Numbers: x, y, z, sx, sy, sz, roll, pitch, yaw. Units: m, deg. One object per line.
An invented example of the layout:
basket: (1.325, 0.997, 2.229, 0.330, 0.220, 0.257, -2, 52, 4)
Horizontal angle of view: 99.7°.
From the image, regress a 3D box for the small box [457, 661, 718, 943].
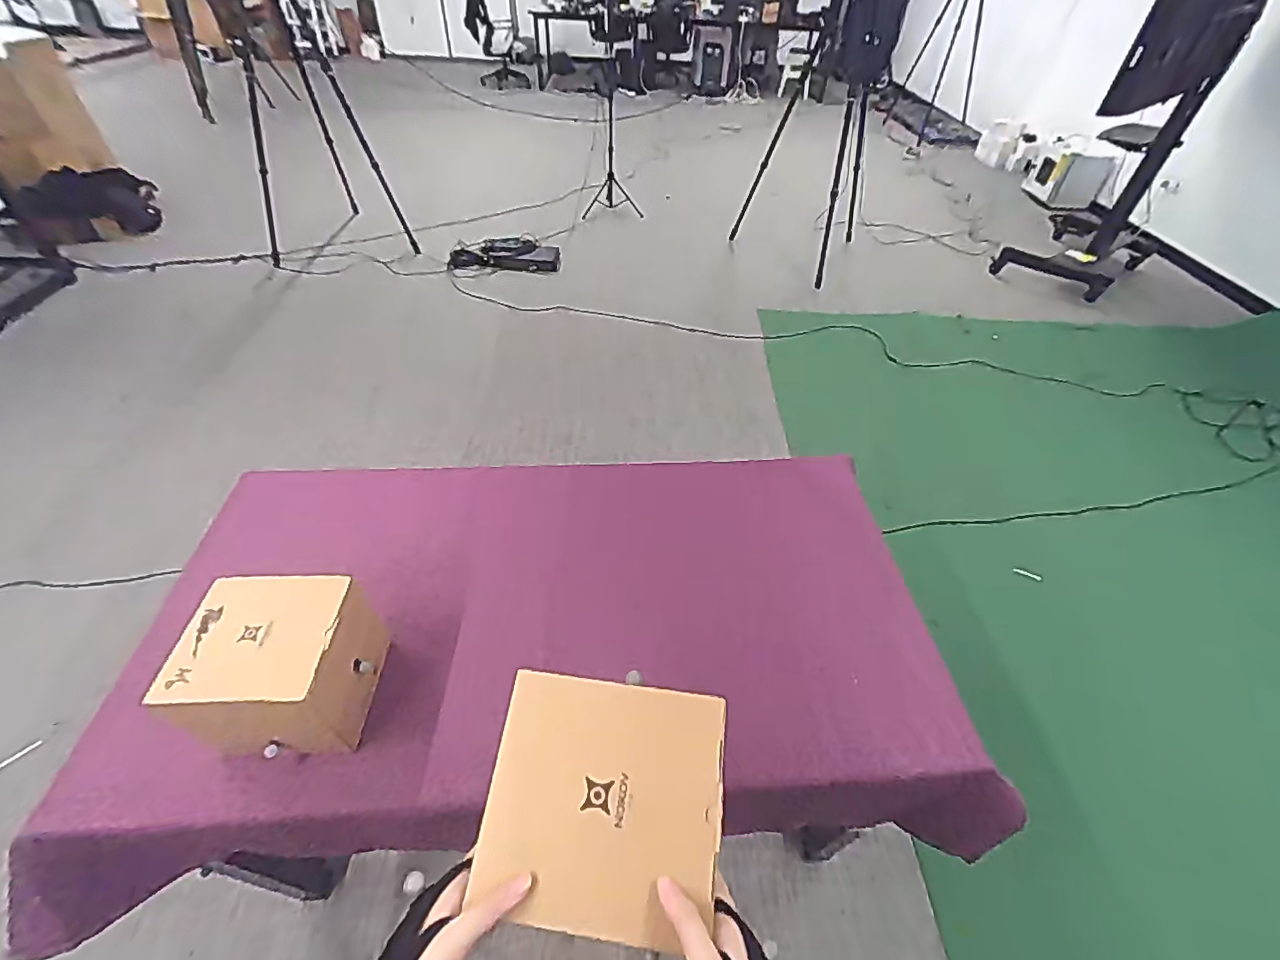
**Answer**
small box: (-0.030, 0.274, 0.480, 0.179, 0.176, 0.168, 6, 60, 5)

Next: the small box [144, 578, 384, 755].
small box: (-0.462, 0.245, 0.706, 0.179, 0.176, 0.168, 1, 45, -3)
